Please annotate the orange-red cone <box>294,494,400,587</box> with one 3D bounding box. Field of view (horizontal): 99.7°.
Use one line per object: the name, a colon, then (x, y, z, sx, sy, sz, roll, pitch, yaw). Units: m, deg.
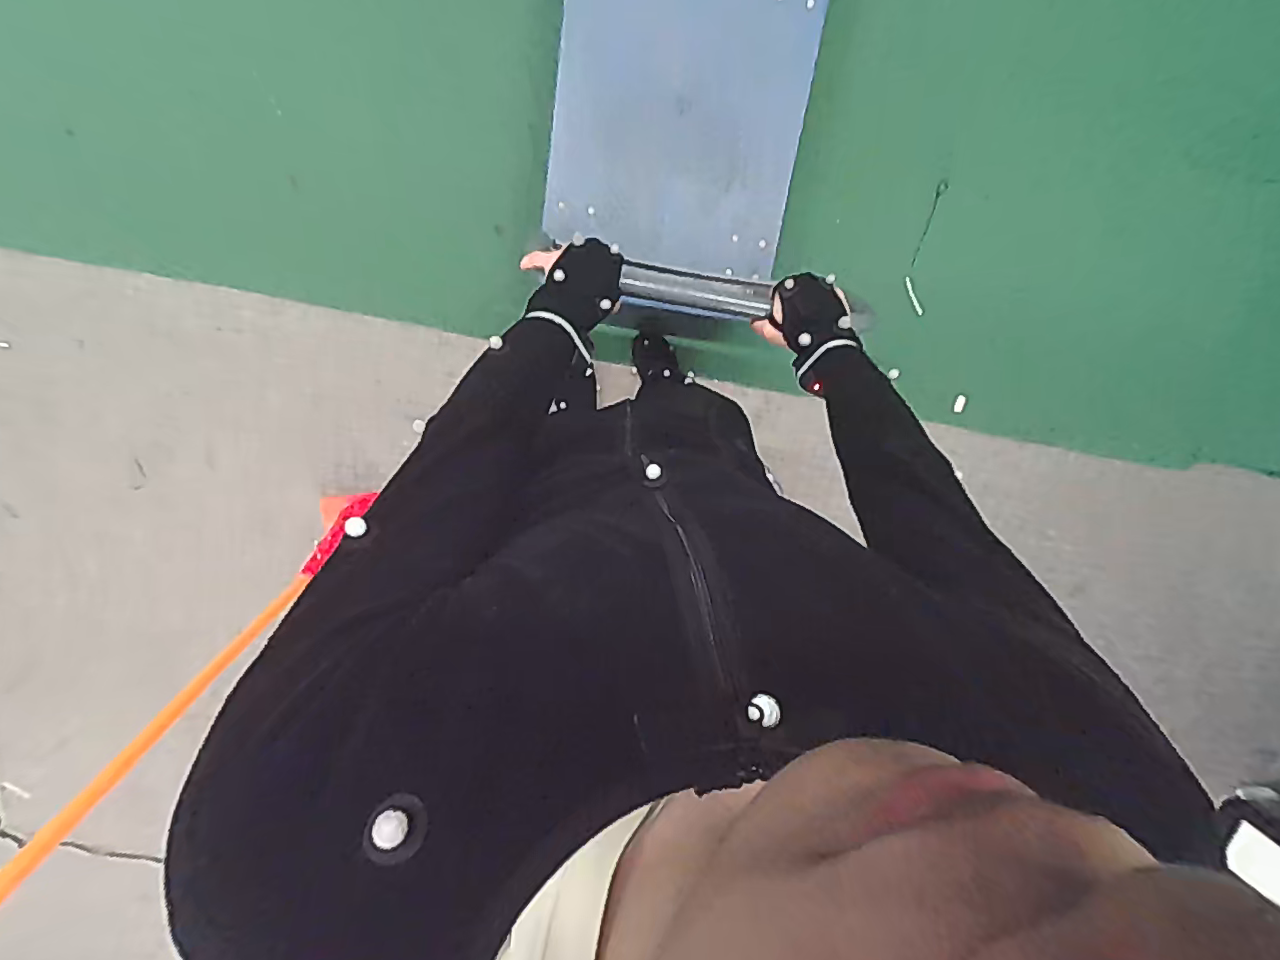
orange-red cone: (-0.805, 0.186, 1.426, 0.199, 0.360, 0.198, -5, 106, -3)
